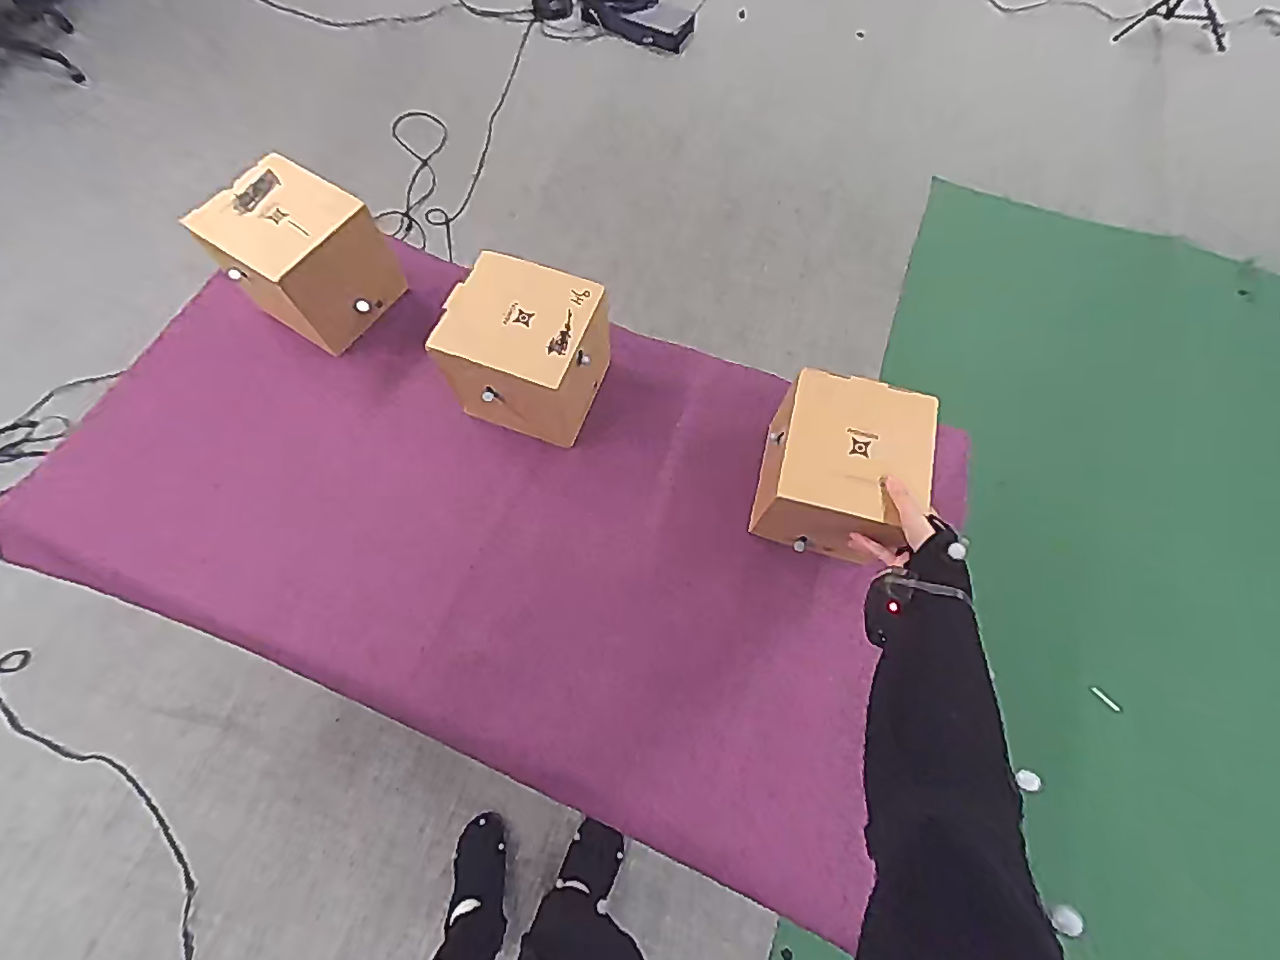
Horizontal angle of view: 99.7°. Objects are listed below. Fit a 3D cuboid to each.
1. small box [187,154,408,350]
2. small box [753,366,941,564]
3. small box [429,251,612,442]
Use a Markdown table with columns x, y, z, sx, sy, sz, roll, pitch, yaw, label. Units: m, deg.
| x | y | z | sx | sy | sz | roll | pitch | yaw | label |
| --- | --- | --- | --- | --- | --- | --- | --- | --- | --- |
| -0.482 | -0.323 | 0.790 | 0.179 | 0.176 | 0.168 | 32 | 71 | 9 | small box |
| 0.251 | -0.010 | 0.686 | 0.168 | 0.176 | 0.179 | 15 | 70 | 5 | small box |
| -0.148 | -0.172 | 0.741 | 0.179 | 0.176 | 0.168 | 19 | 69 | 7 | small box |
